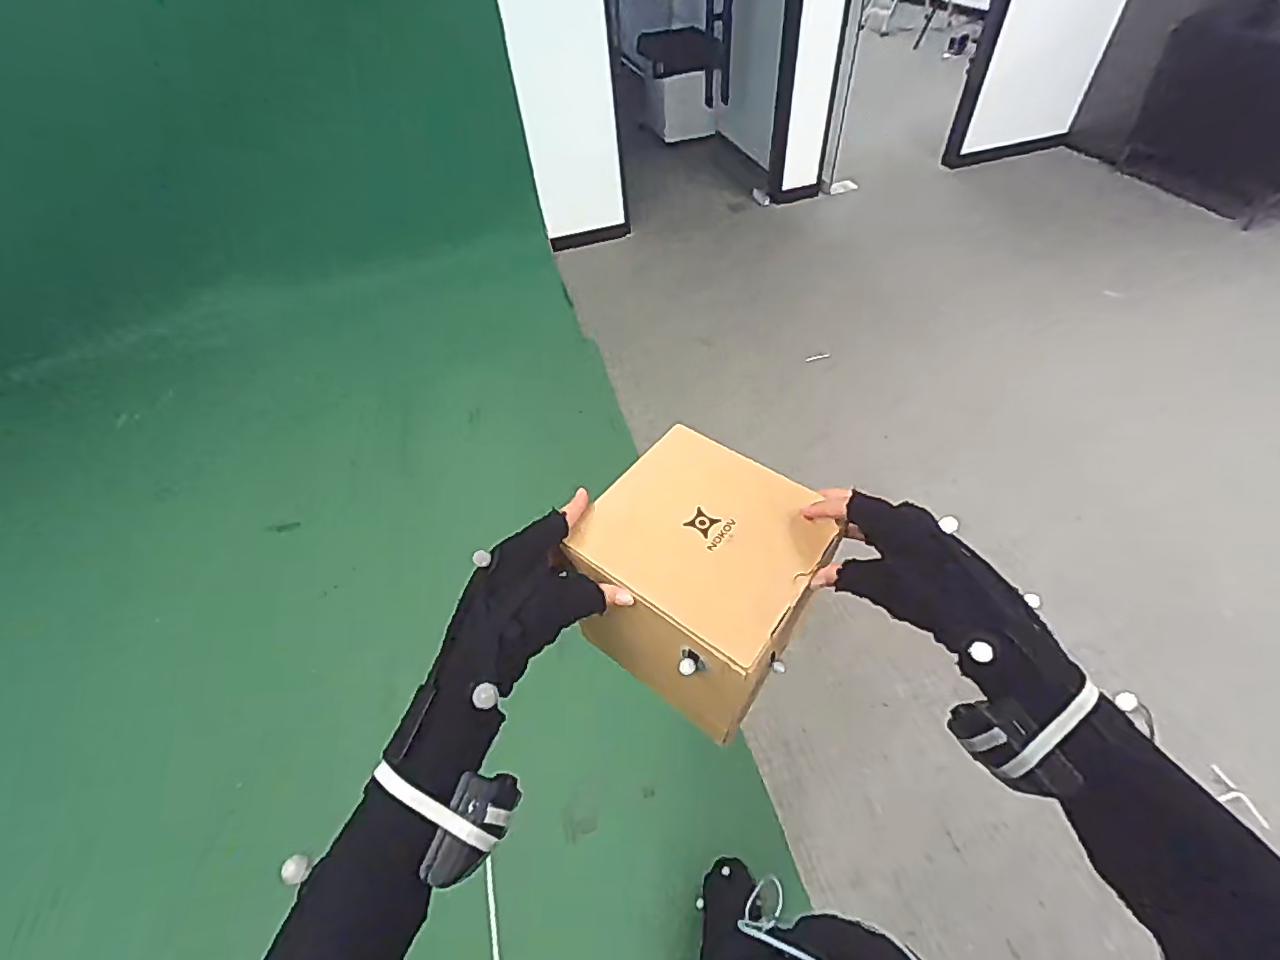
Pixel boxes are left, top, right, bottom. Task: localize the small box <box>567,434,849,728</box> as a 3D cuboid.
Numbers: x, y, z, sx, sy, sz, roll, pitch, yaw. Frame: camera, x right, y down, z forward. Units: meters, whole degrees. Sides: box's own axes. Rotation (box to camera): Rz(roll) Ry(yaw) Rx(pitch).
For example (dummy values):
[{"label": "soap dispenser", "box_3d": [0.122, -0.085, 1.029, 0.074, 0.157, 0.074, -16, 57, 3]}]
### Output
[{"label": "small box", "box_3d": [0.057, 0.094, 0.499, 0.179, 0.176, 0.168, 30, 56, 24]}]
